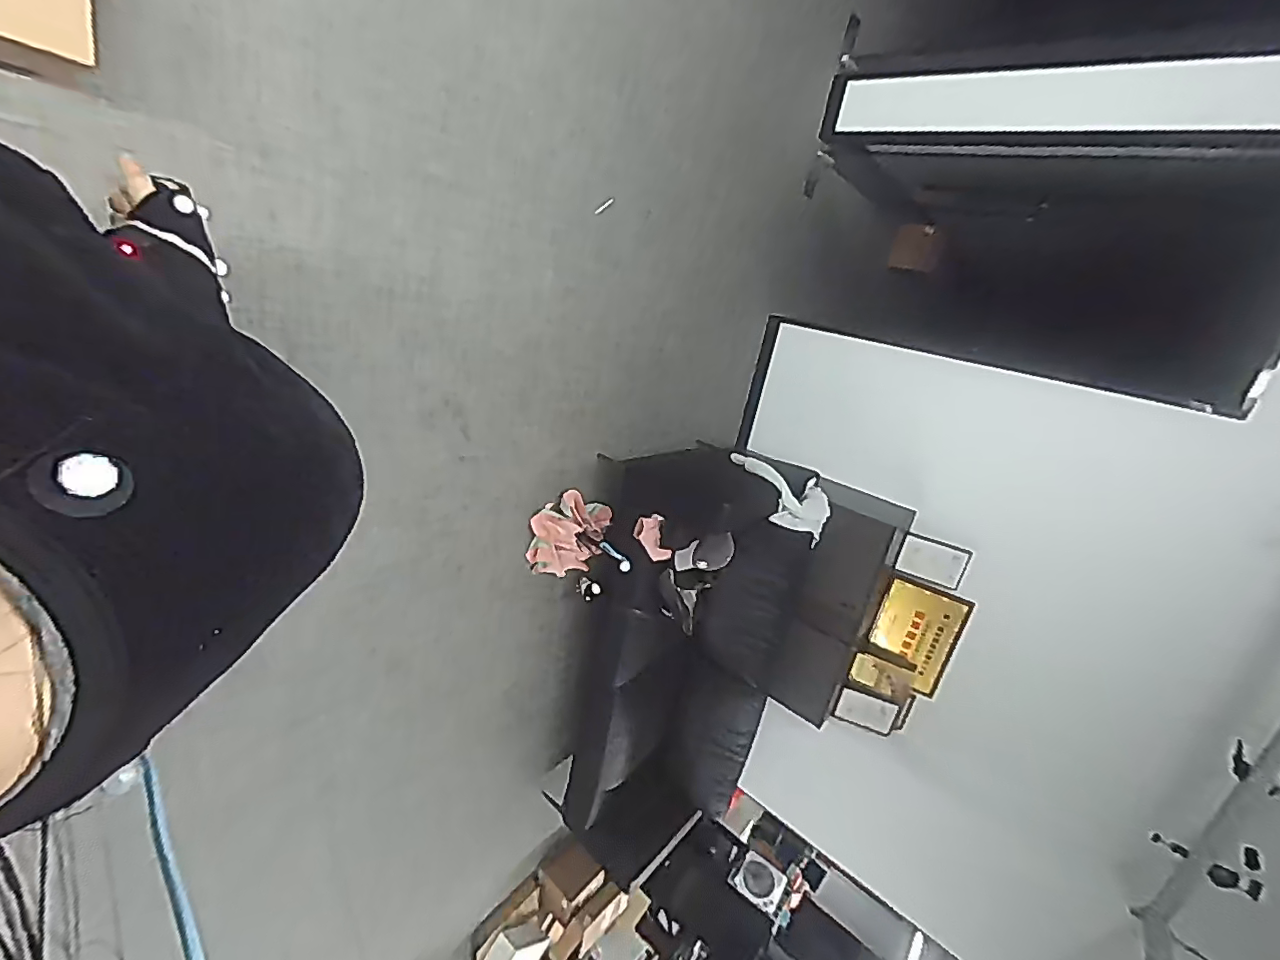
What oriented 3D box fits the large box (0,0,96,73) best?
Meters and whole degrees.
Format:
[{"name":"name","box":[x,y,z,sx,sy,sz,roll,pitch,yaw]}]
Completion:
[{"name":"large box","box":[-0.992,-0.768,0.668,0.408,0.320,0.320,-10,118,-50]}]
